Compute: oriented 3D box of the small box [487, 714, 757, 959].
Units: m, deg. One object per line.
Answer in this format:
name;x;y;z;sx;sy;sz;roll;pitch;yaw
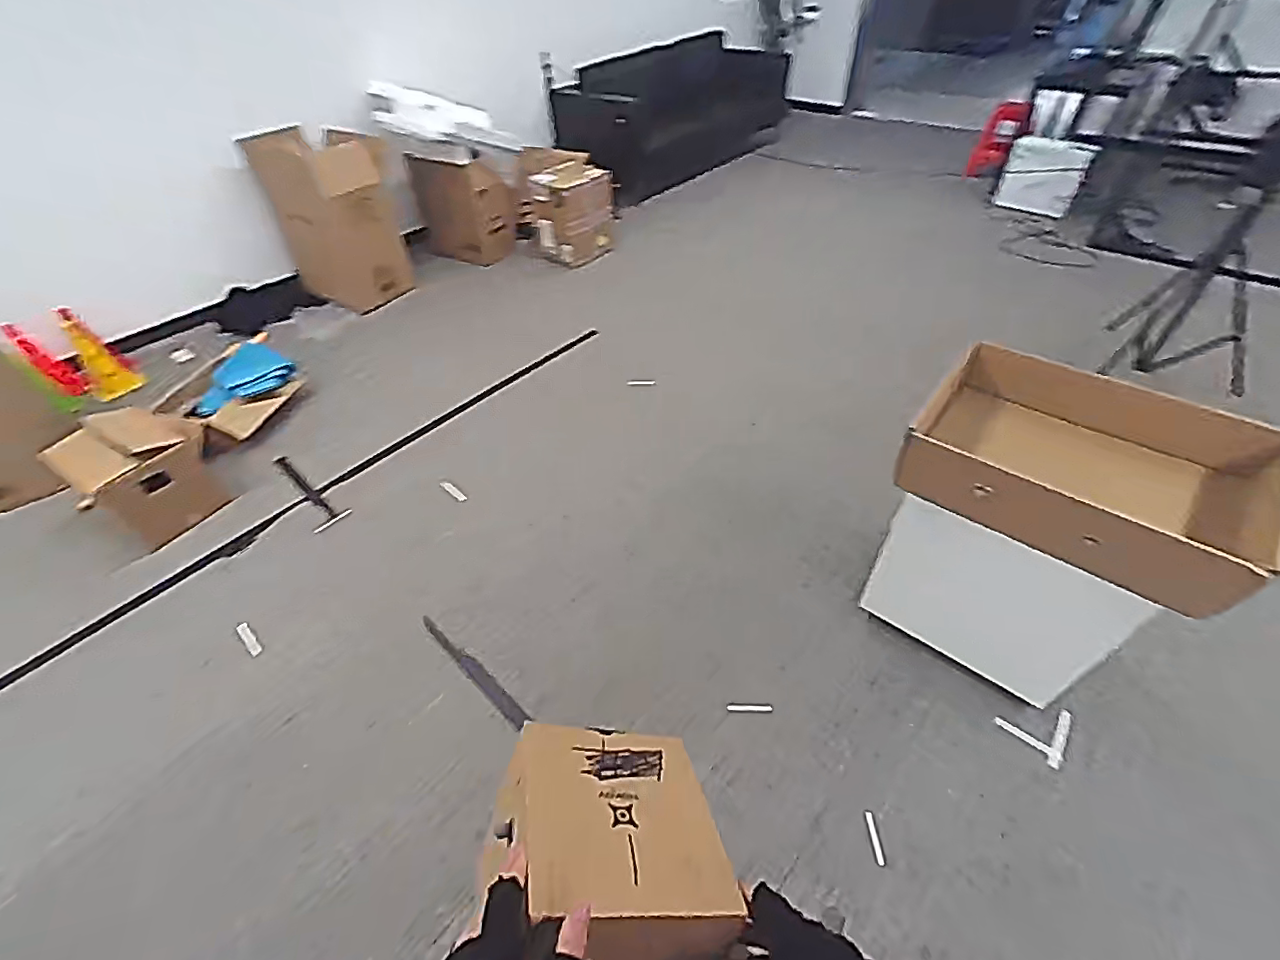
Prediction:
small box;-0.032;0.340;0.469;0.168;0.176;0.179;15;14;-17
